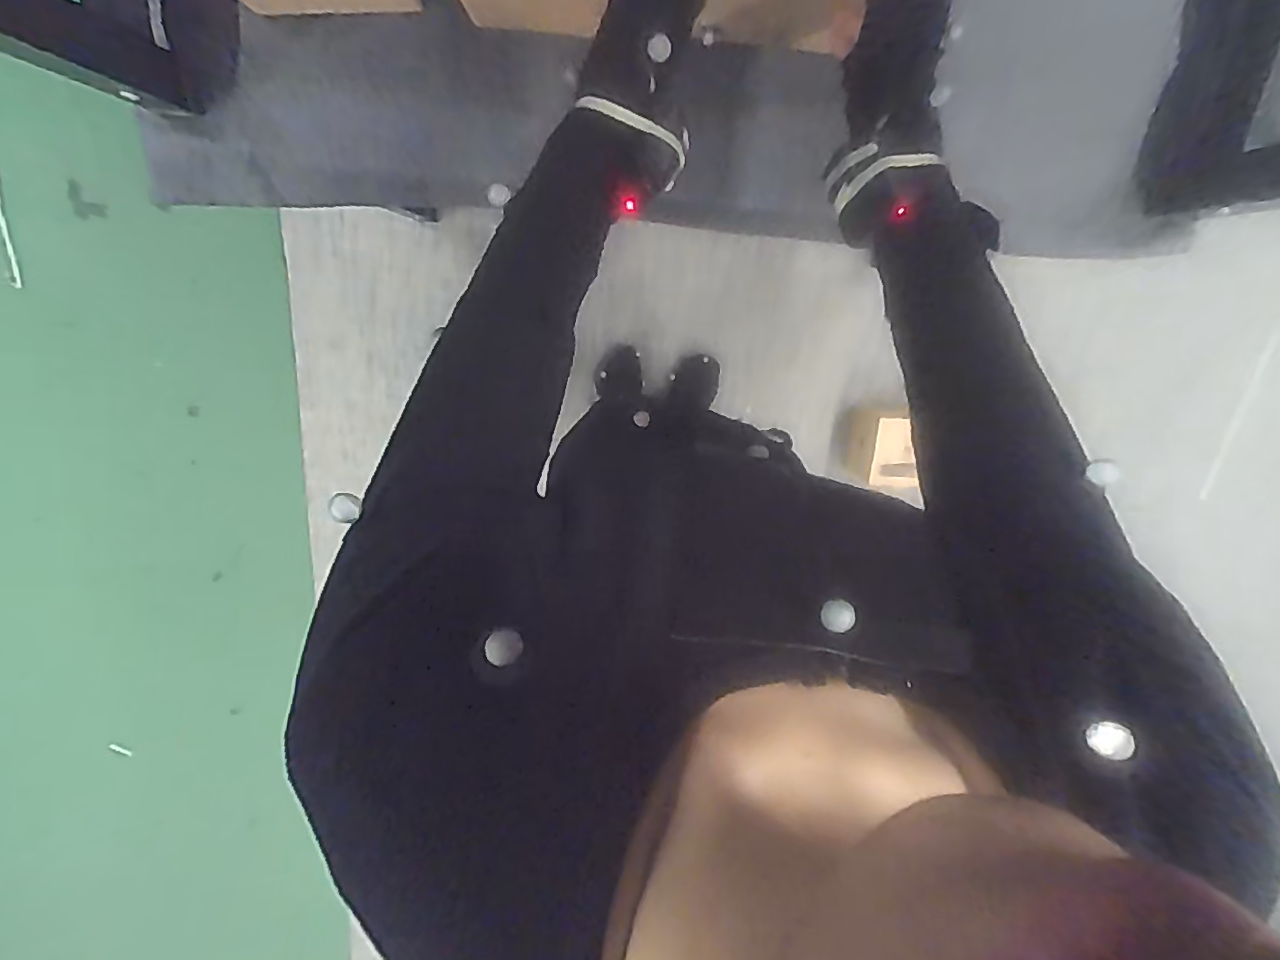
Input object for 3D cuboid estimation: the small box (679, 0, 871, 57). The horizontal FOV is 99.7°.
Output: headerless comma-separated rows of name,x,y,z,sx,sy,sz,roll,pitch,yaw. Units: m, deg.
small box,0.125,-0.491,0.452,0.168,0.176,0.179,5,110,-2
